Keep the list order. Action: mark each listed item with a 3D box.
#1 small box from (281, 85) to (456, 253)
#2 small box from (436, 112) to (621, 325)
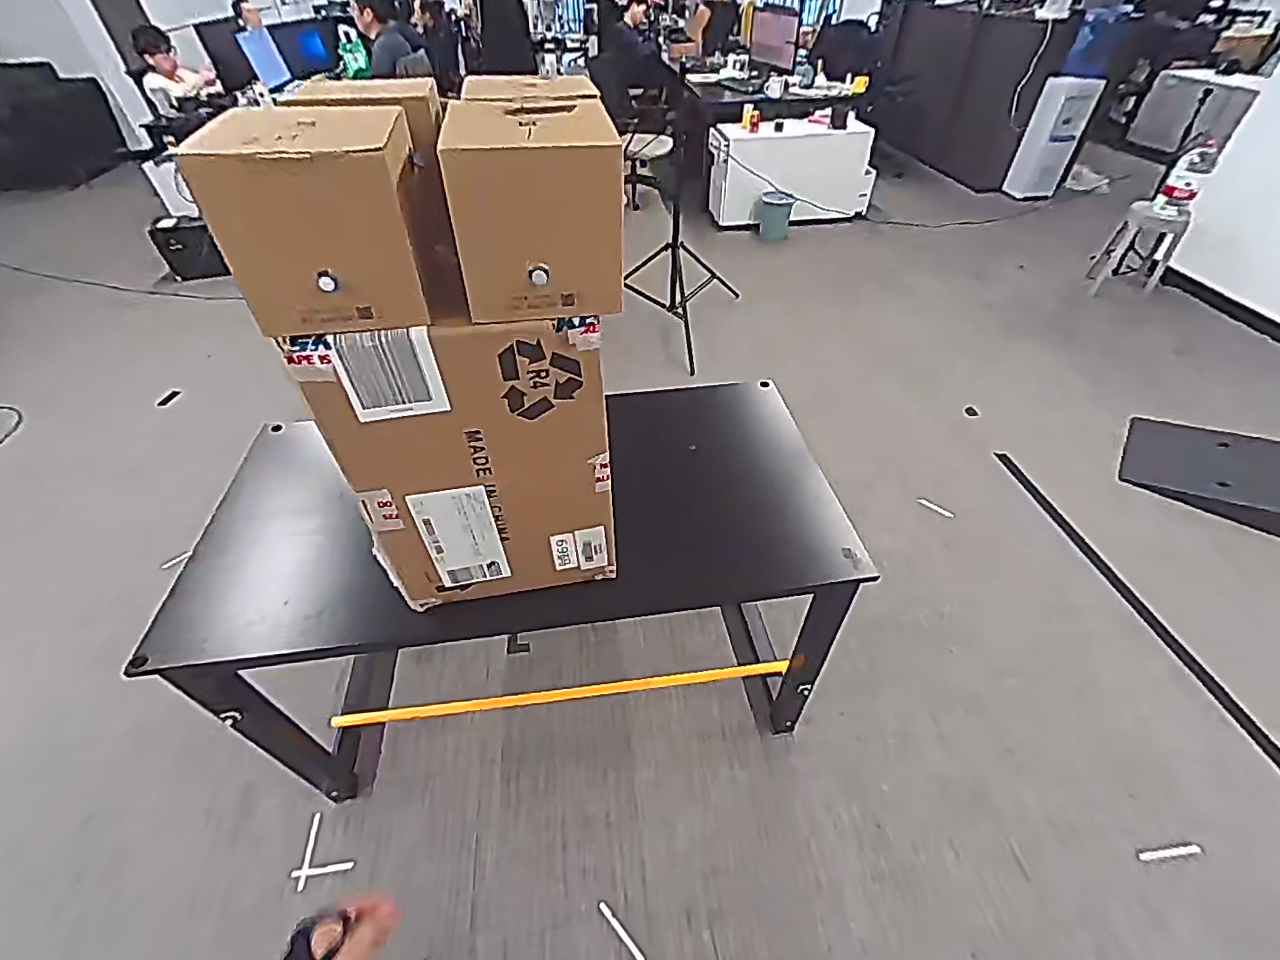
[{"bbox_3d":[-0.345,-0.423,0.734,0.168,0.176,0.179,-10,43,-10],"label":"small box"},{"bbox_3d":[-0.114,-0.290,0.597,0.168,0.176,0.179,-7,45,-7],"label":"small box"}]
